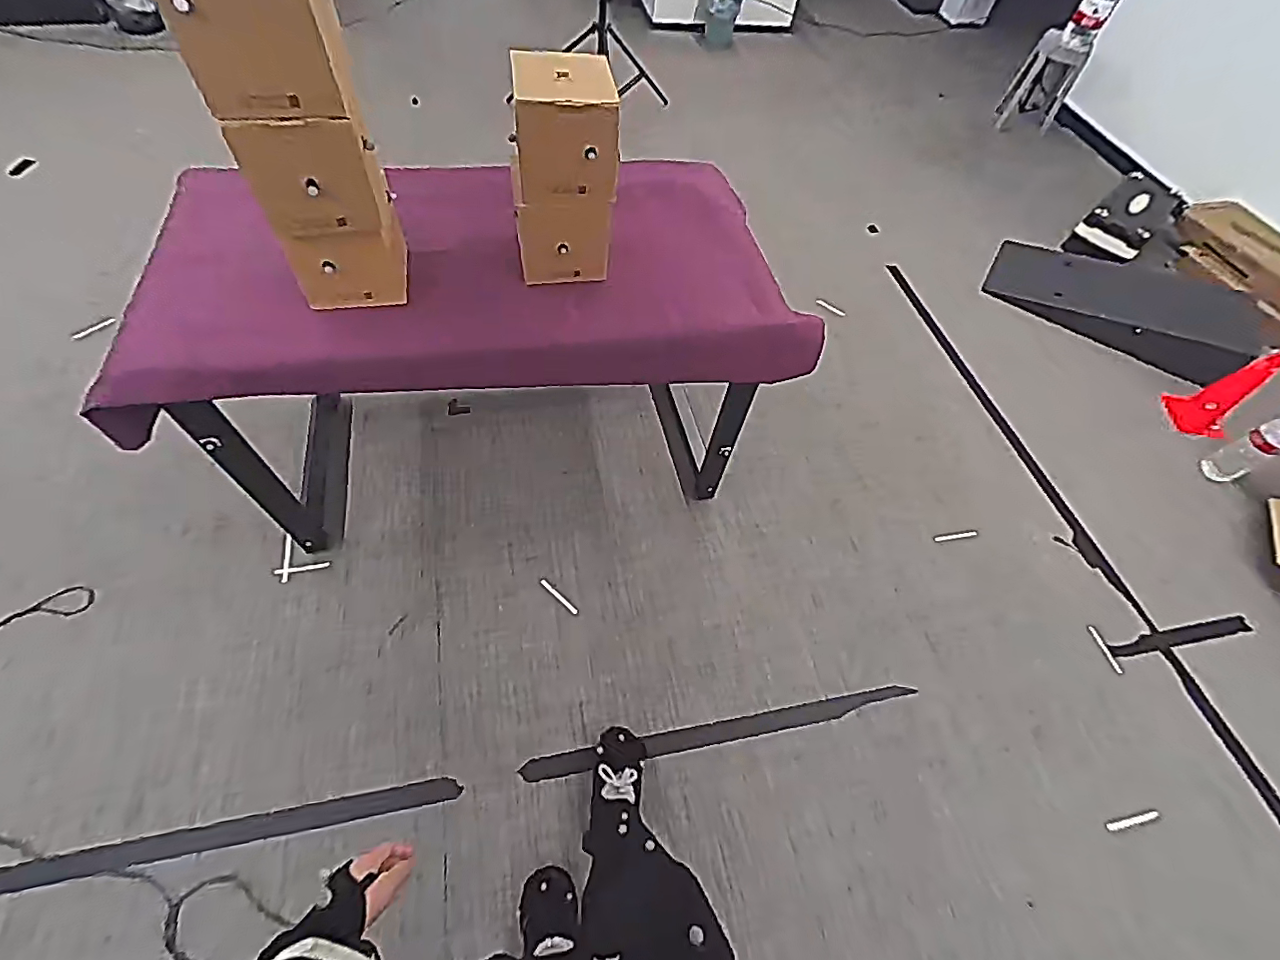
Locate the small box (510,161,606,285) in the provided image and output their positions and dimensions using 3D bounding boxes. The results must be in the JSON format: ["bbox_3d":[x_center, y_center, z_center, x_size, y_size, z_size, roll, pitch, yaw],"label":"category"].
[{"bbox_3d":[-0.163,-0.507,1.078,0.168,0.176,0.179,-7,58,-12],"label":"small box"}]

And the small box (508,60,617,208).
[{"bbox_3d":[-0.137,-0.599,0.946,0.168,0.176,0.179,-6,58,-11],"label":"small box"}]

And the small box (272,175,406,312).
[{"bbox_3d":[-0.533,-0.424,0.985,0.168,0.176,0.179,-8,58,-11],"label":"small box"}]

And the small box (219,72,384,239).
[{"bbox_3d":[-0.509,-0.494,0.837,0.168,0.176,0.179,-12,60,-14],"label":"small box"}]
